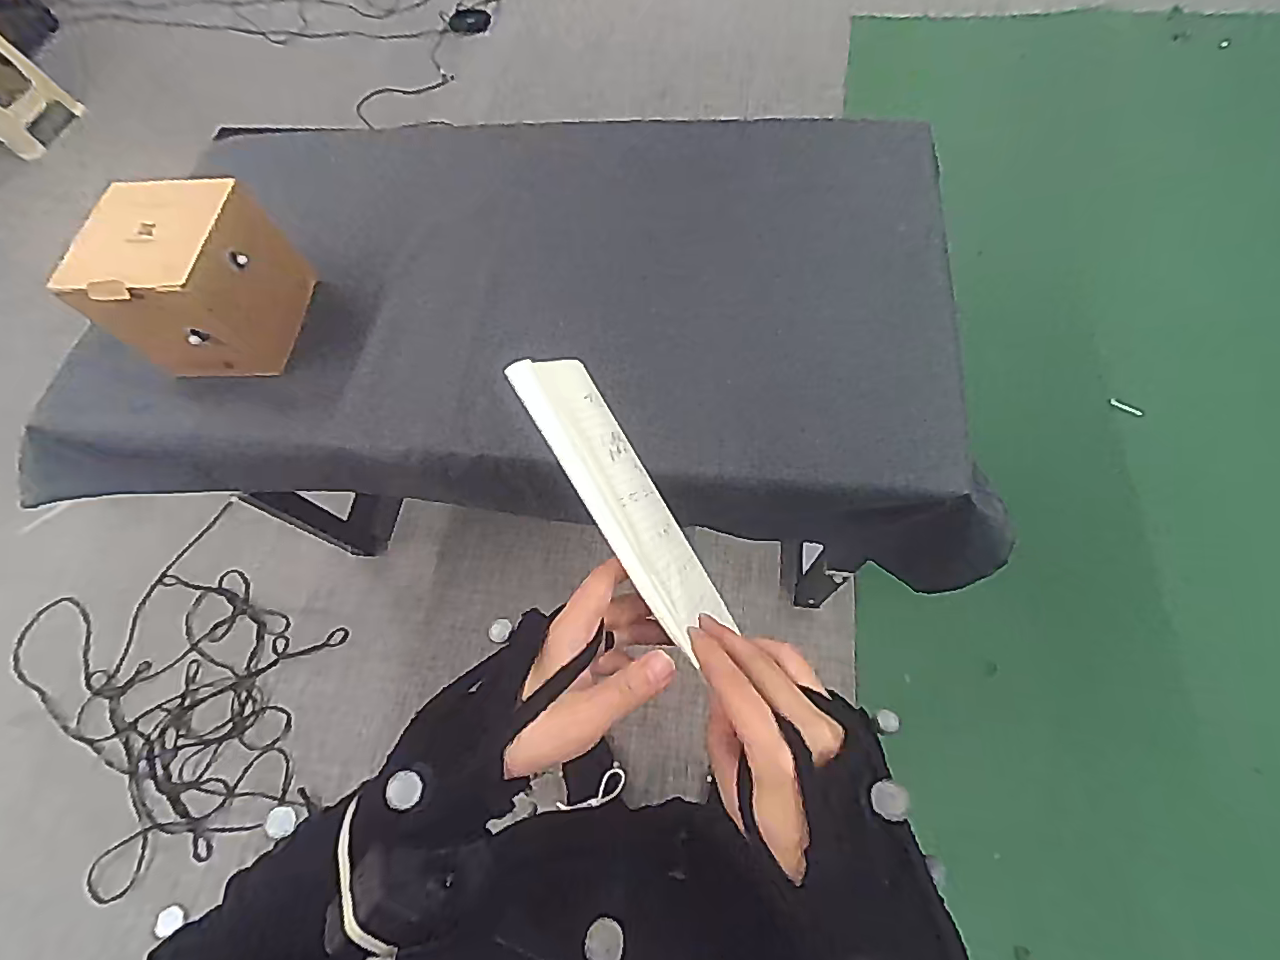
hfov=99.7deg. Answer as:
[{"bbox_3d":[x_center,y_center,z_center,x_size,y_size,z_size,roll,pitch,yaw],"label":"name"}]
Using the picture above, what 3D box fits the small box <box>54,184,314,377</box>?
[{"bbox_3d":[-0.565,-0.249,0.704,0.168,0.176,0.179,1,64,4],"label":"small box"}]
